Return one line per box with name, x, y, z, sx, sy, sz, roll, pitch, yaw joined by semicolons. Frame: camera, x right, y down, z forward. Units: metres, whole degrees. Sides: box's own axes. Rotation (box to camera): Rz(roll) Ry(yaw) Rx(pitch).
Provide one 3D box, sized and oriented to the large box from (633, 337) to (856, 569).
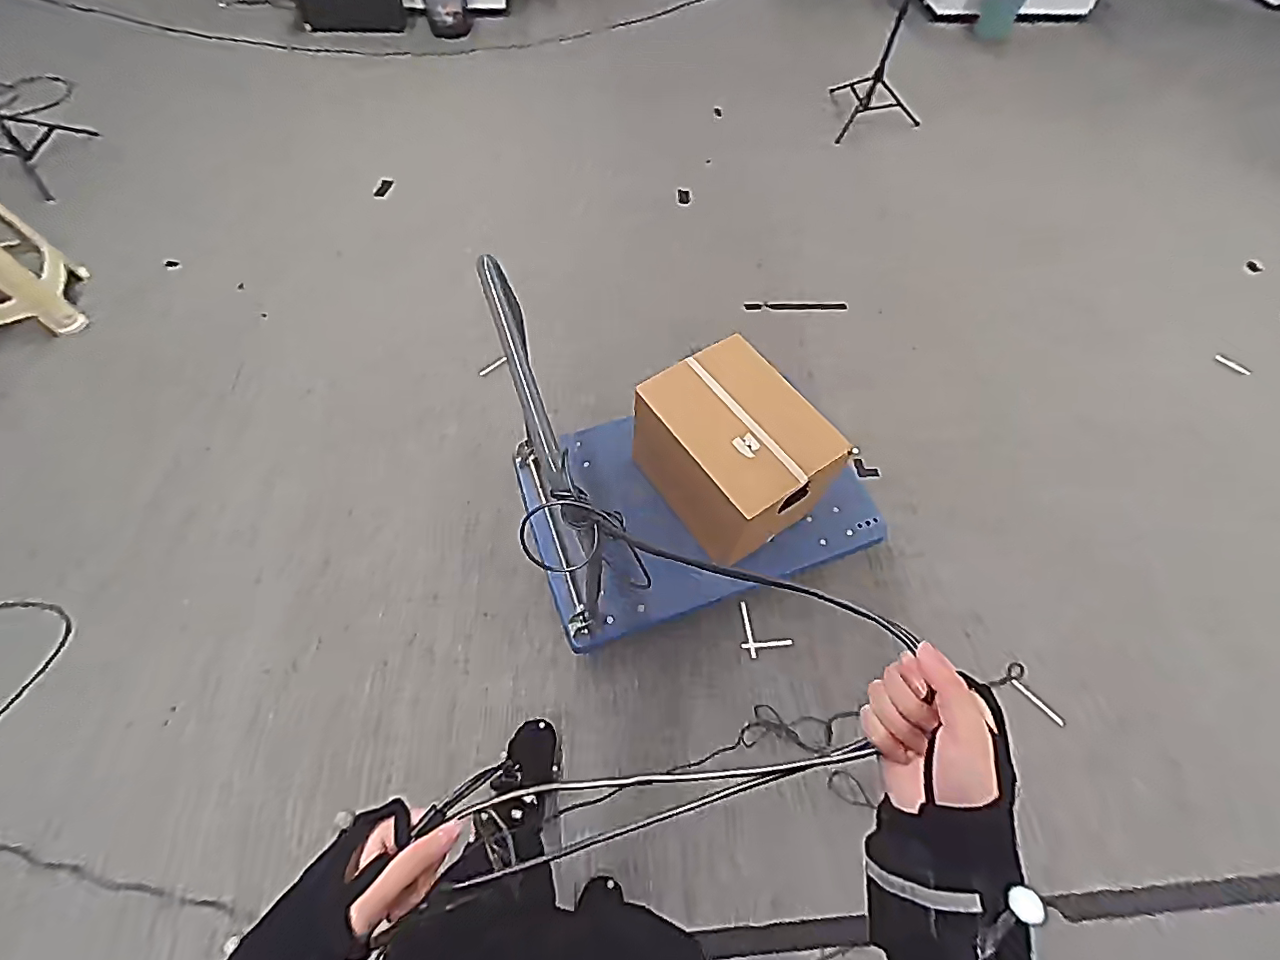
large box;0.223;-0.062;1.322;0.320;0.320;0.408;-31;68;-17
